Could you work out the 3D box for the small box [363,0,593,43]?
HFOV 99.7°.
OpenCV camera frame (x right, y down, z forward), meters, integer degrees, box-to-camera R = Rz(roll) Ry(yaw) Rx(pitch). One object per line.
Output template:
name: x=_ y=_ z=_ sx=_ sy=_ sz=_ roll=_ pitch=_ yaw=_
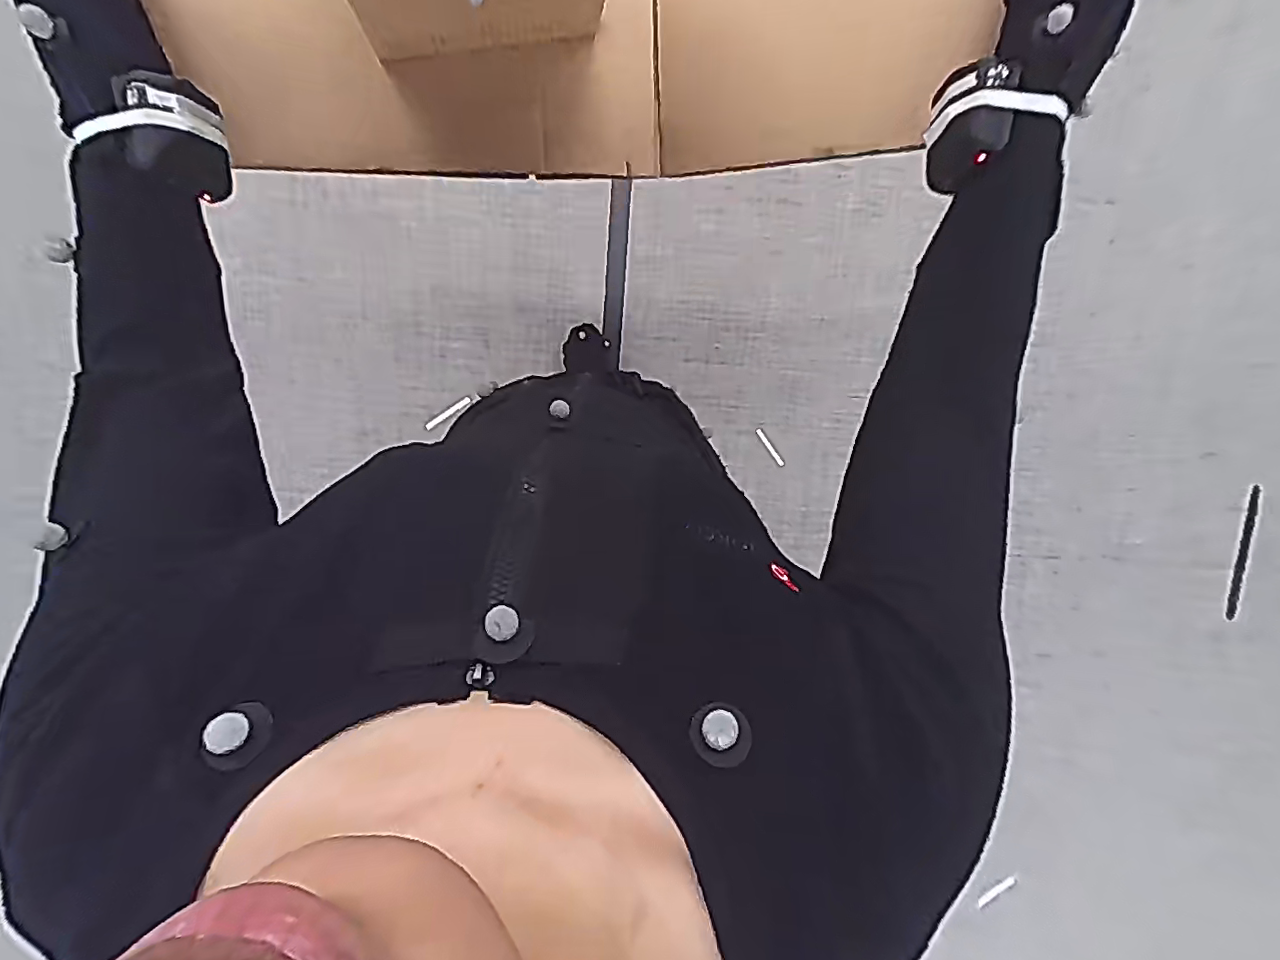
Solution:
small box: x=-0.112 y=-0.408 z=0.329 sx=0.179 sy=0.176 sz=0.168 roll=-13 pitch=107 yaw=-7
